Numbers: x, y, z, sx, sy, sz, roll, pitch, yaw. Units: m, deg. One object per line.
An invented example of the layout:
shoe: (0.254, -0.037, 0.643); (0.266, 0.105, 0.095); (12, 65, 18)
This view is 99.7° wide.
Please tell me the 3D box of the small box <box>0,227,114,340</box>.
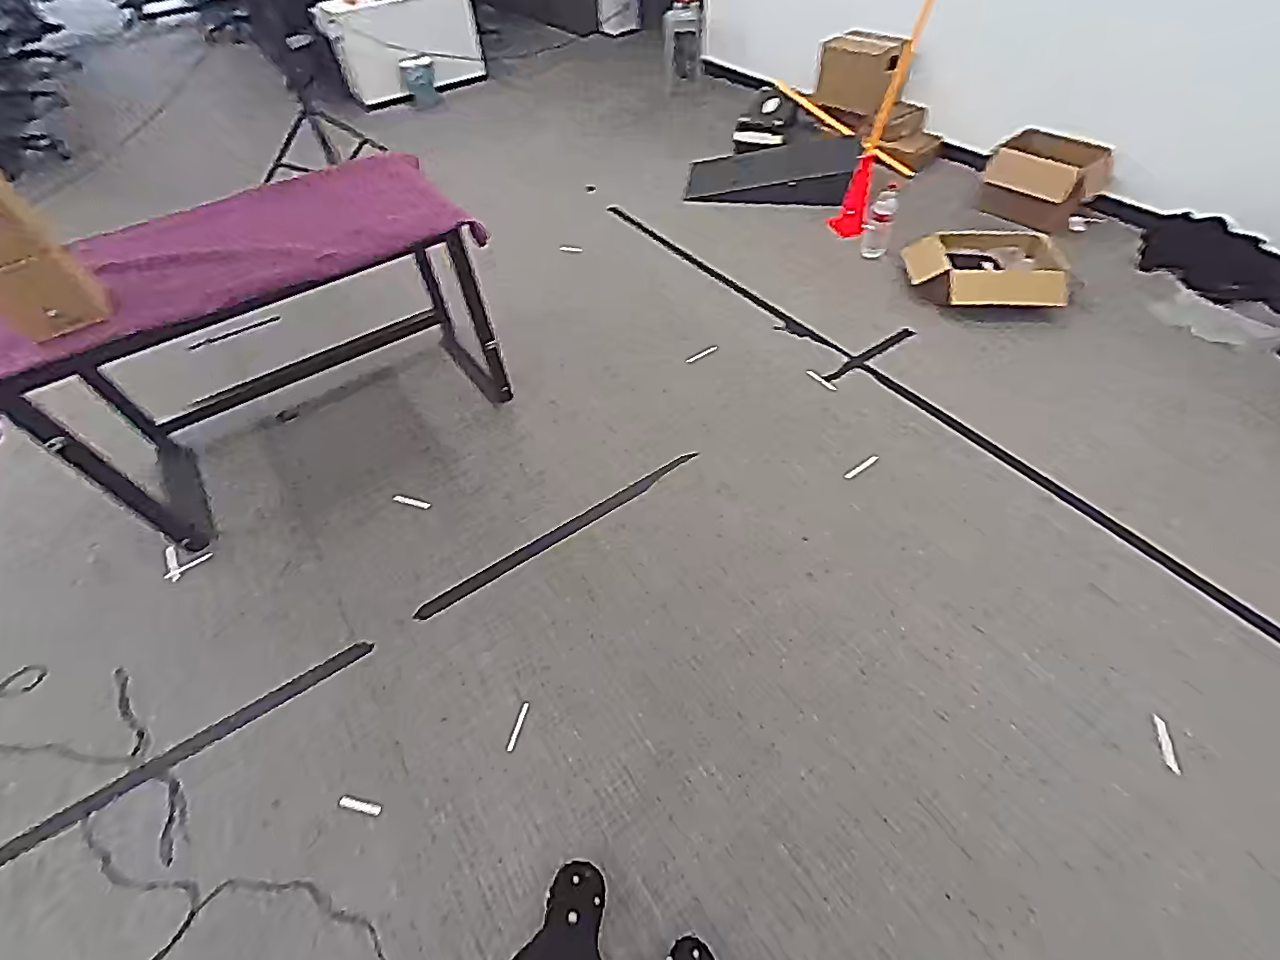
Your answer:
small box: (-1.397, -0.459, 1.268); (0.168, 0.176, 0.179); (-33, 57, -21)

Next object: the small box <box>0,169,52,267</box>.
small box: (-1.406, -0.560, 1.142); (0.179, 0.176, 0.168); (-34, 56, -21)
